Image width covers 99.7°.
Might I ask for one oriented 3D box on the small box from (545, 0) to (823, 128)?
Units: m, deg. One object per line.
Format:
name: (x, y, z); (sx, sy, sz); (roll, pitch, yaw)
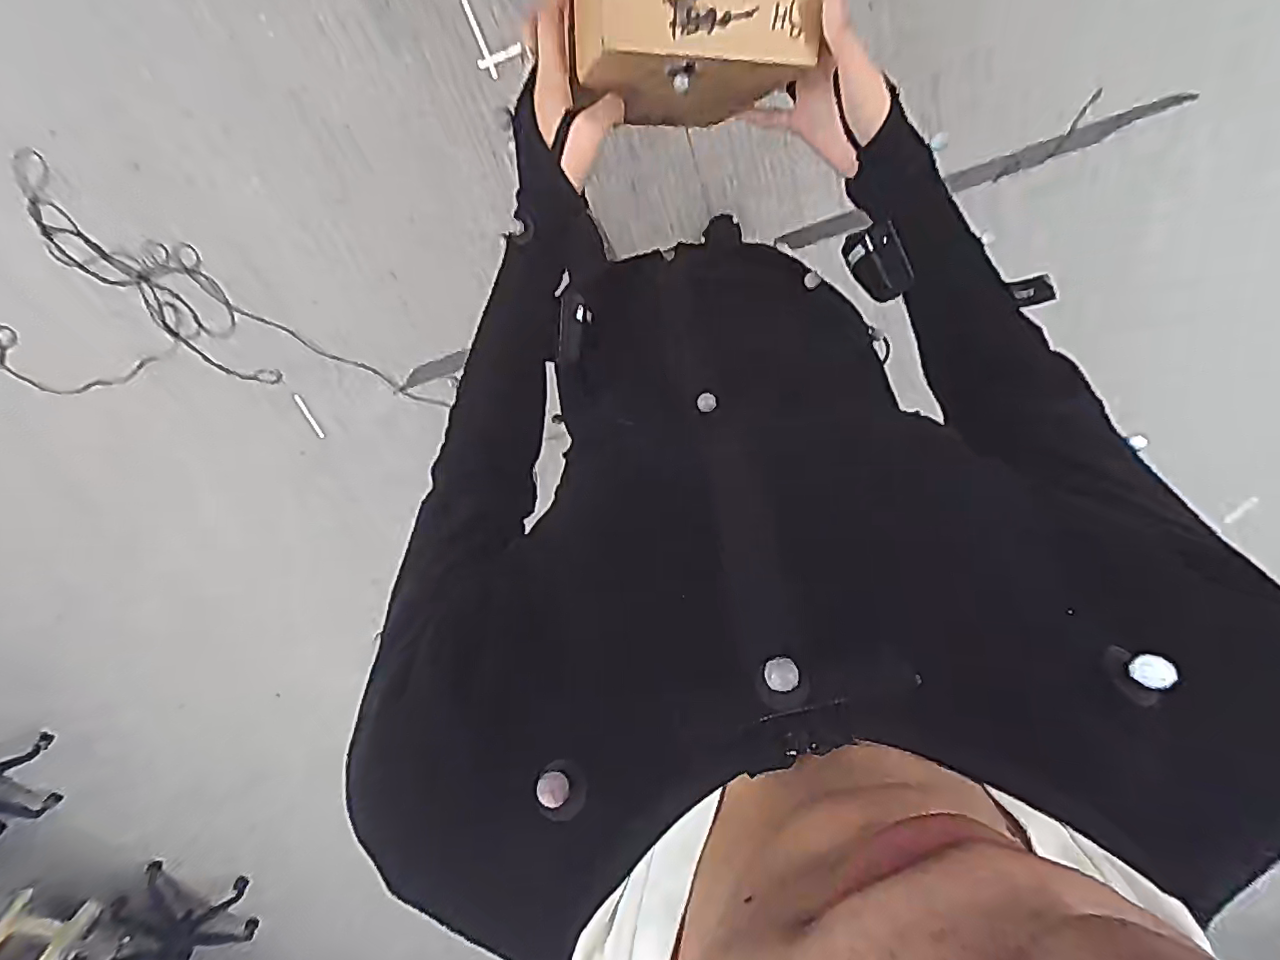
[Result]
small box: (0.021, -0.397, 0.411); (0.168, 0.176, 0.179); (-9, 110, -18)
